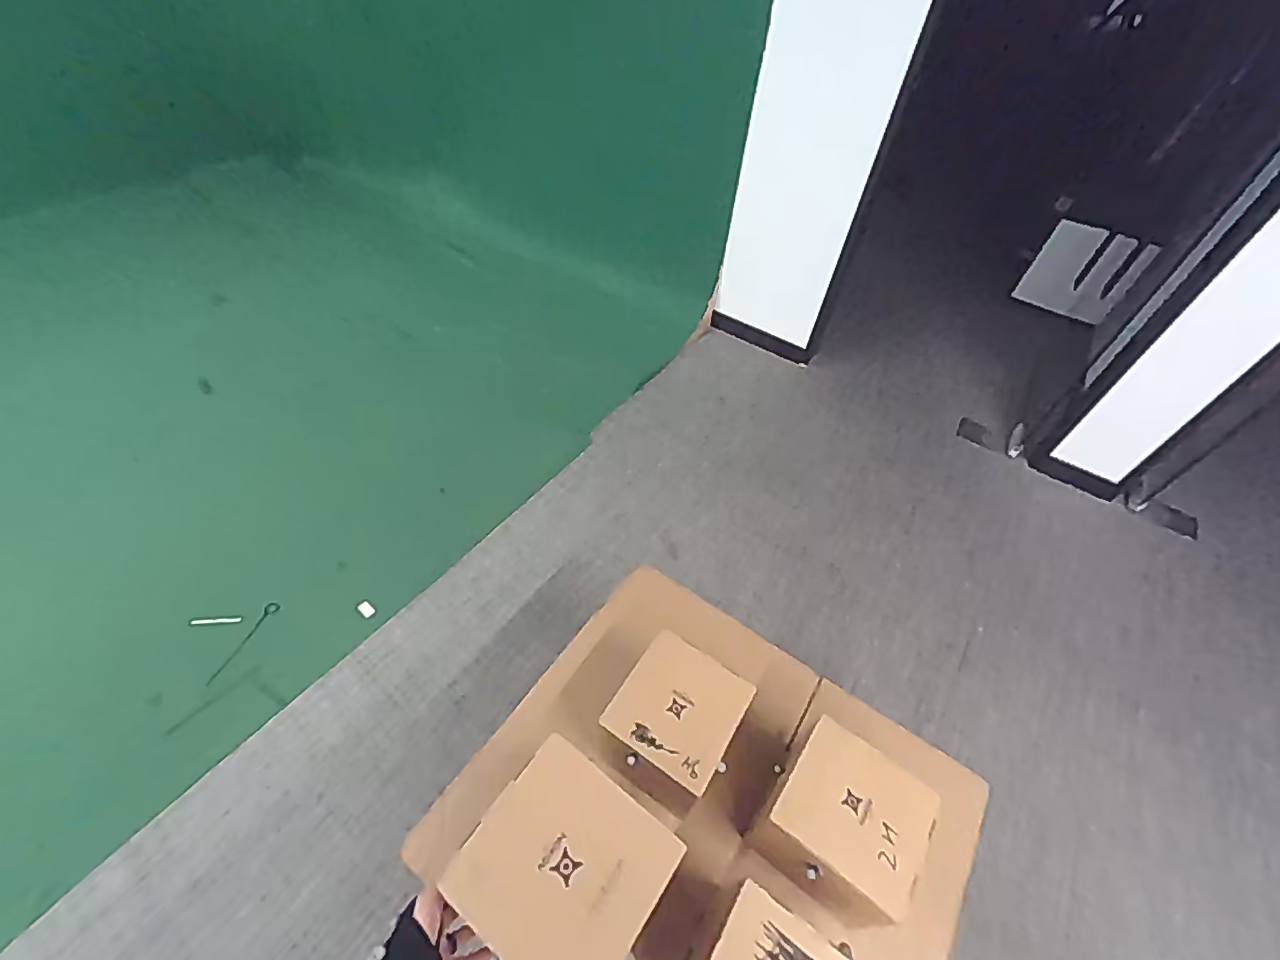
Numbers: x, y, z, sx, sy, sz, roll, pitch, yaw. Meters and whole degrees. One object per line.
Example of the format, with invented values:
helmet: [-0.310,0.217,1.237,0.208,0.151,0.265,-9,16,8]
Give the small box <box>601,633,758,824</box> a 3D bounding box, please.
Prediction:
small box: [0.052,0.374,0.816,0.168,0.176,0.179,28,51,20]

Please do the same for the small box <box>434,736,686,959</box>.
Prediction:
small box: [-0.076,0.411,0.560,0.179,0.176,0.168,32,55,21]
